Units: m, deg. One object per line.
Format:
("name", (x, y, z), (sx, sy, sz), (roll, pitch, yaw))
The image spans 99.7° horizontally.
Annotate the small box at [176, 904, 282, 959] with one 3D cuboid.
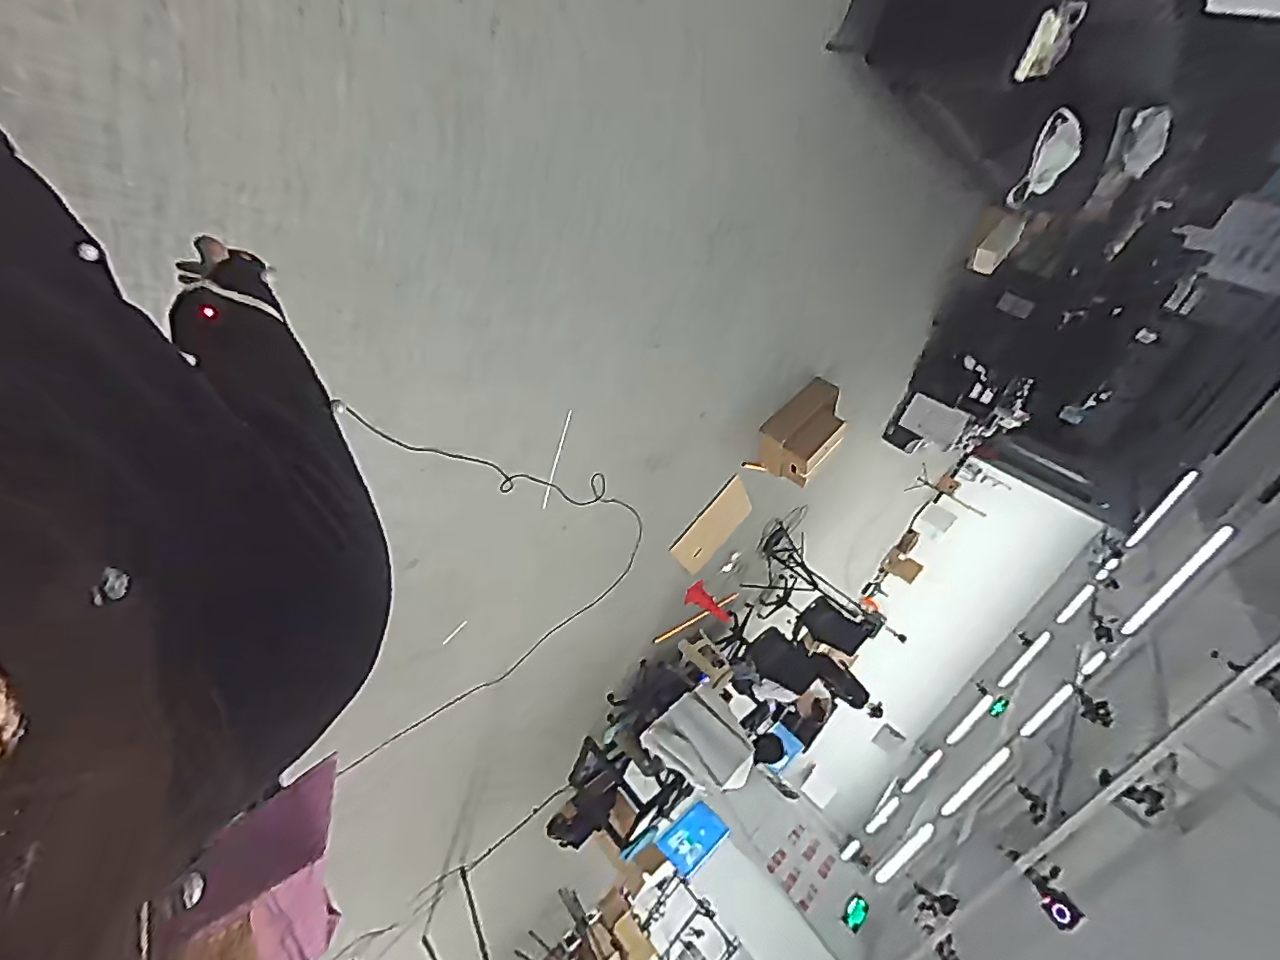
("small box", (-0.921, 1.119, 1.223), (0.168, 0.176, 0.179), (-14, 132, -46))
